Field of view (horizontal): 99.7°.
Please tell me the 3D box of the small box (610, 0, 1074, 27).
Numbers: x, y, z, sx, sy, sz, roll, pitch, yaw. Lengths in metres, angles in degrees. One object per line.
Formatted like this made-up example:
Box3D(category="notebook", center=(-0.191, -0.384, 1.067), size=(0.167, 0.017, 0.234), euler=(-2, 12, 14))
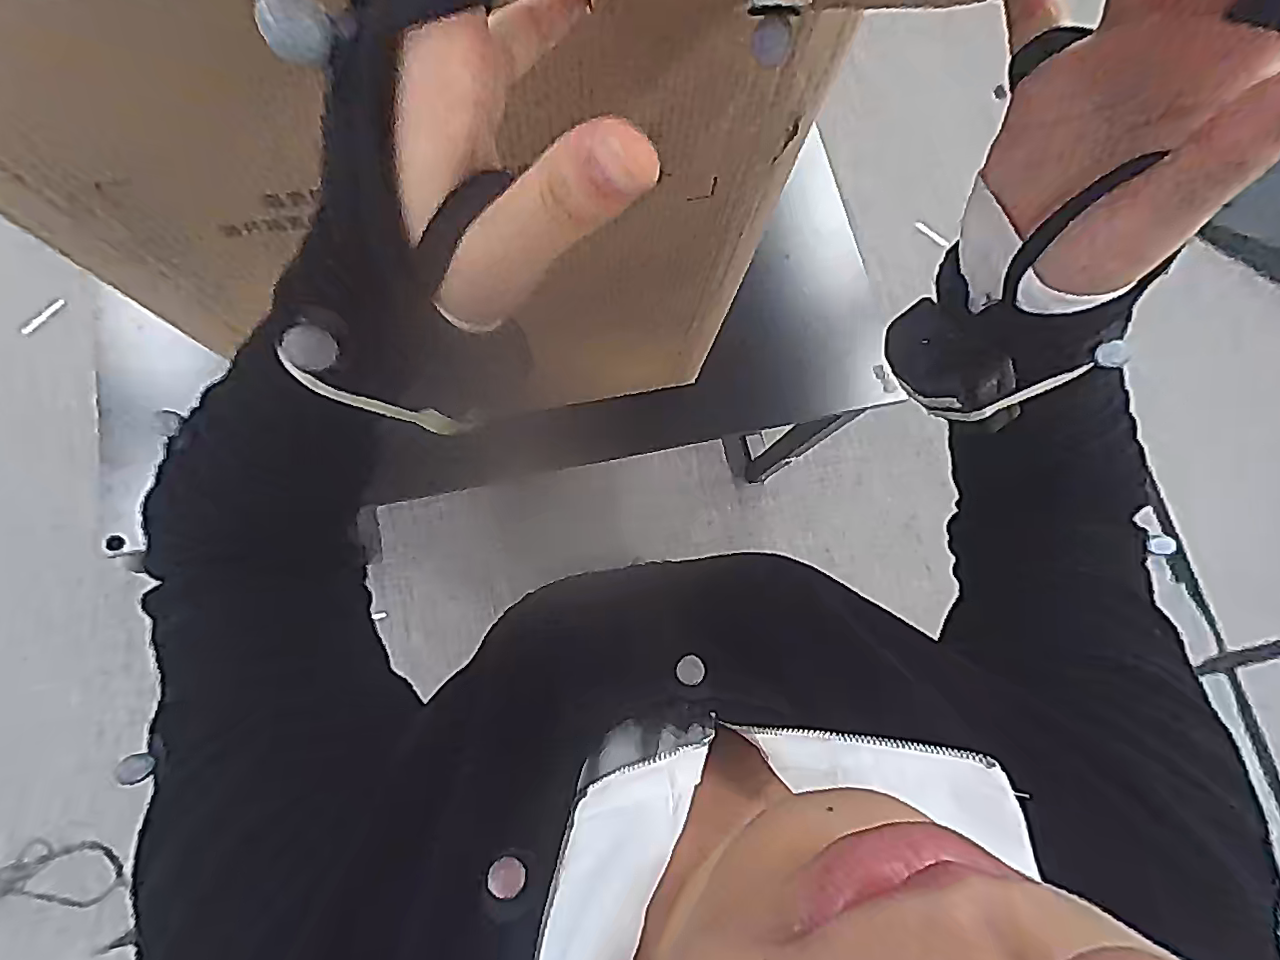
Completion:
Box3D(category="small box", center=(0.066, -0.220, 0.118), size=(0.168, 0.179, 0.176), euler=(-5, 38, -3))
